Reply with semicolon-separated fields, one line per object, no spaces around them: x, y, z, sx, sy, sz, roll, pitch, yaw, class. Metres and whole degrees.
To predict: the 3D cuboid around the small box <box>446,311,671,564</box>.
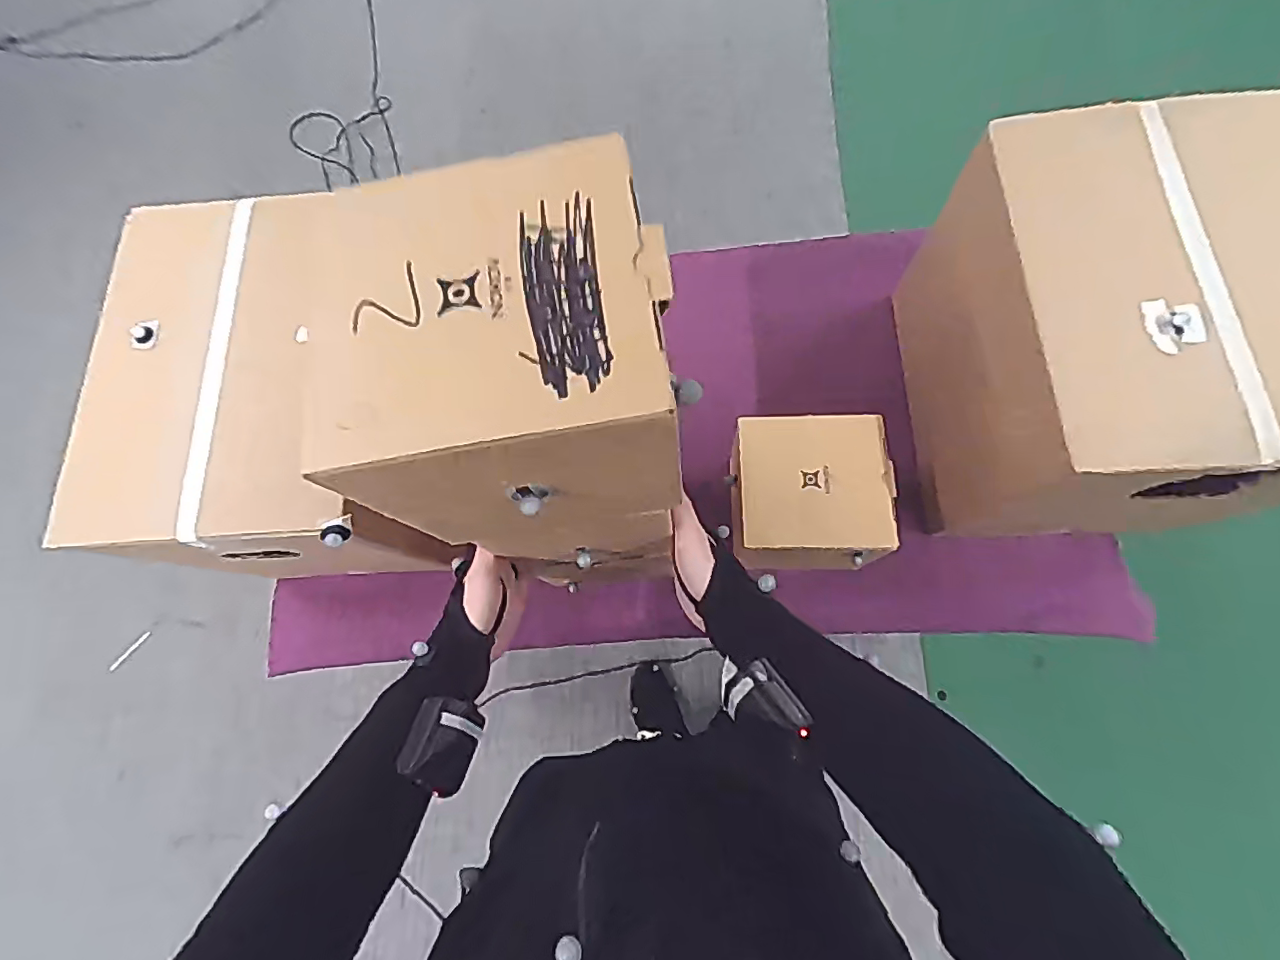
-0.060;-0.026;0.494;0.168;0.176;0.179;-5;73;4;small box

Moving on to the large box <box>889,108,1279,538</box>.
0.541;-0.154;0.664;0.320;0.320;0.408;-3;74;6;large box

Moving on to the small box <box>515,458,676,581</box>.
-0.045;0.025;0.650;0.168;0.176;0.179;-5;71;3;small box
